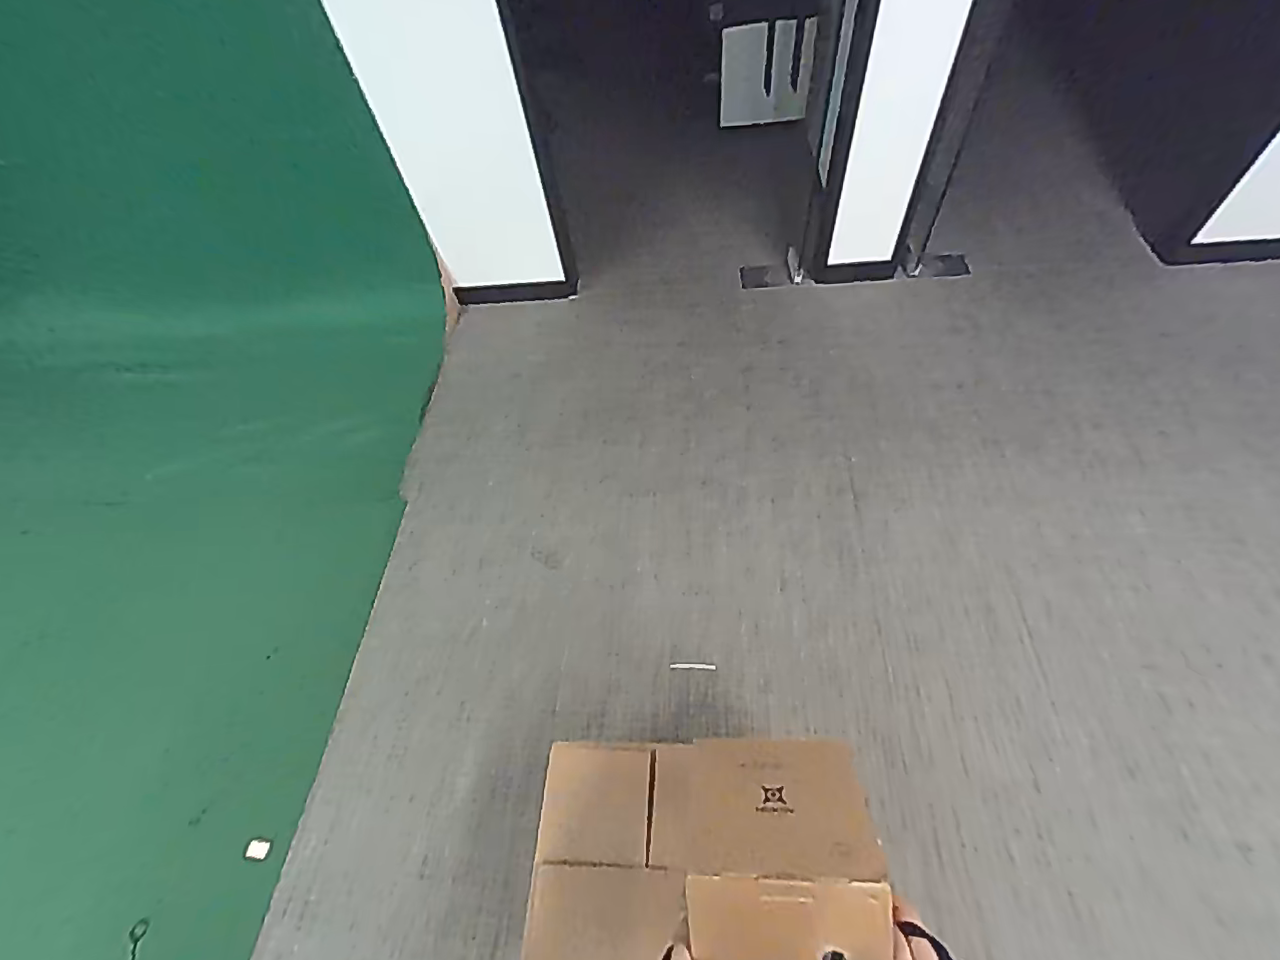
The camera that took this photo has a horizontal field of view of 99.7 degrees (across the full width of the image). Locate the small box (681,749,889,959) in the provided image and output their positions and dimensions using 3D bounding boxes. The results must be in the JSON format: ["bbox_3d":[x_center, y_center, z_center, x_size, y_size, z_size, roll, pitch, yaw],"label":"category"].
[{"bbox_3d":[0.136,0.393,0.525,0.168,0.179,0.176,-5,98,9],"label":"small box"}]
